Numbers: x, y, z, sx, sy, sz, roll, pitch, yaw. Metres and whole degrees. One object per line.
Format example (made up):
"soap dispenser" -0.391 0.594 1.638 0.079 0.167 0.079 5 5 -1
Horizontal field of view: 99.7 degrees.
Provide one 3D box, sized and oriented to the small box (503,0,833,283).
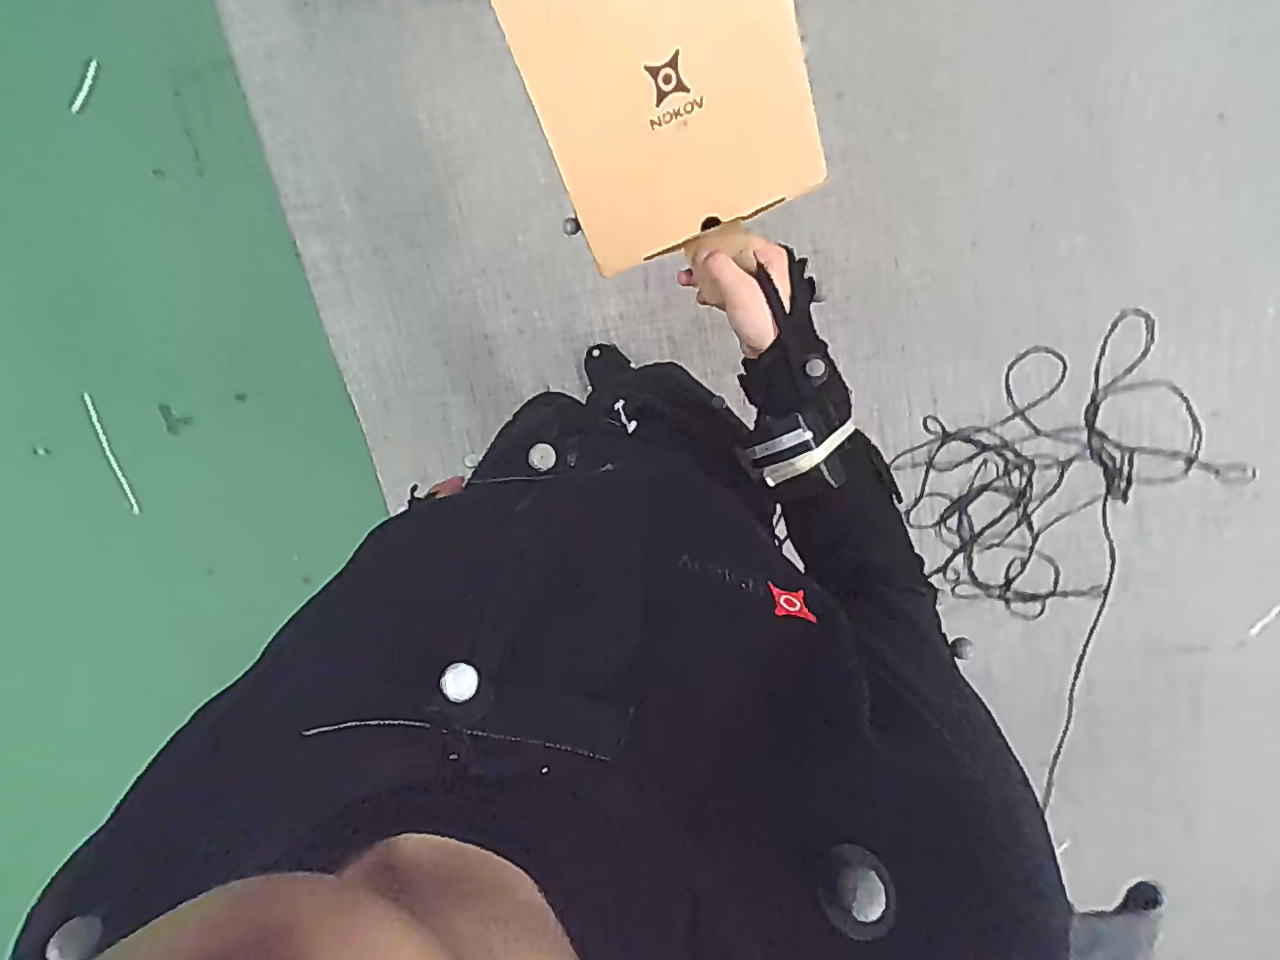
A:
"small box" 0.020 -0.270 0.405 0.168 0.176 0.179 -20 117 7
